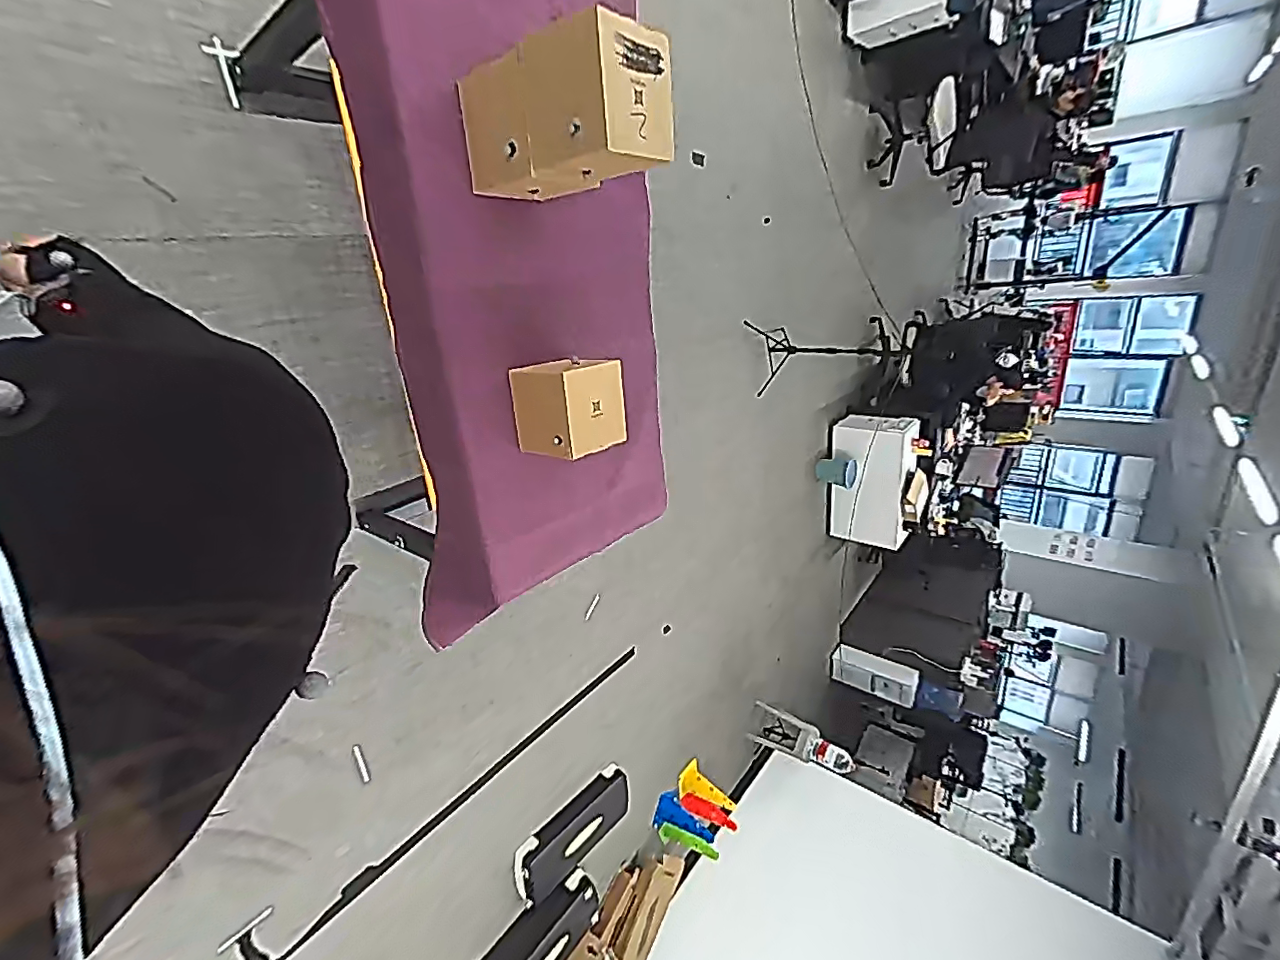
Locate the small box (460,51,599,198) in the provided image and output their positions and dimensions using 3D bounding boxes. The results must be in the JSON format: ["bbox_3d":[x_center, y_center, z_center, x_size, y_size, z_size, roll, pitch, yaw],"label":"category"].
[{"bbox_3d":[-0.194,-0.610,0.958,0.168,0.176,0.179,-25,118,-46],"label":"small box"}]

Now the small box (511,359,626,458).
[{"bbox_3d":[-0.151,-0.157,1.135,0.168,0.176,0.179,-26,119,-46],"label":"small box"}]
